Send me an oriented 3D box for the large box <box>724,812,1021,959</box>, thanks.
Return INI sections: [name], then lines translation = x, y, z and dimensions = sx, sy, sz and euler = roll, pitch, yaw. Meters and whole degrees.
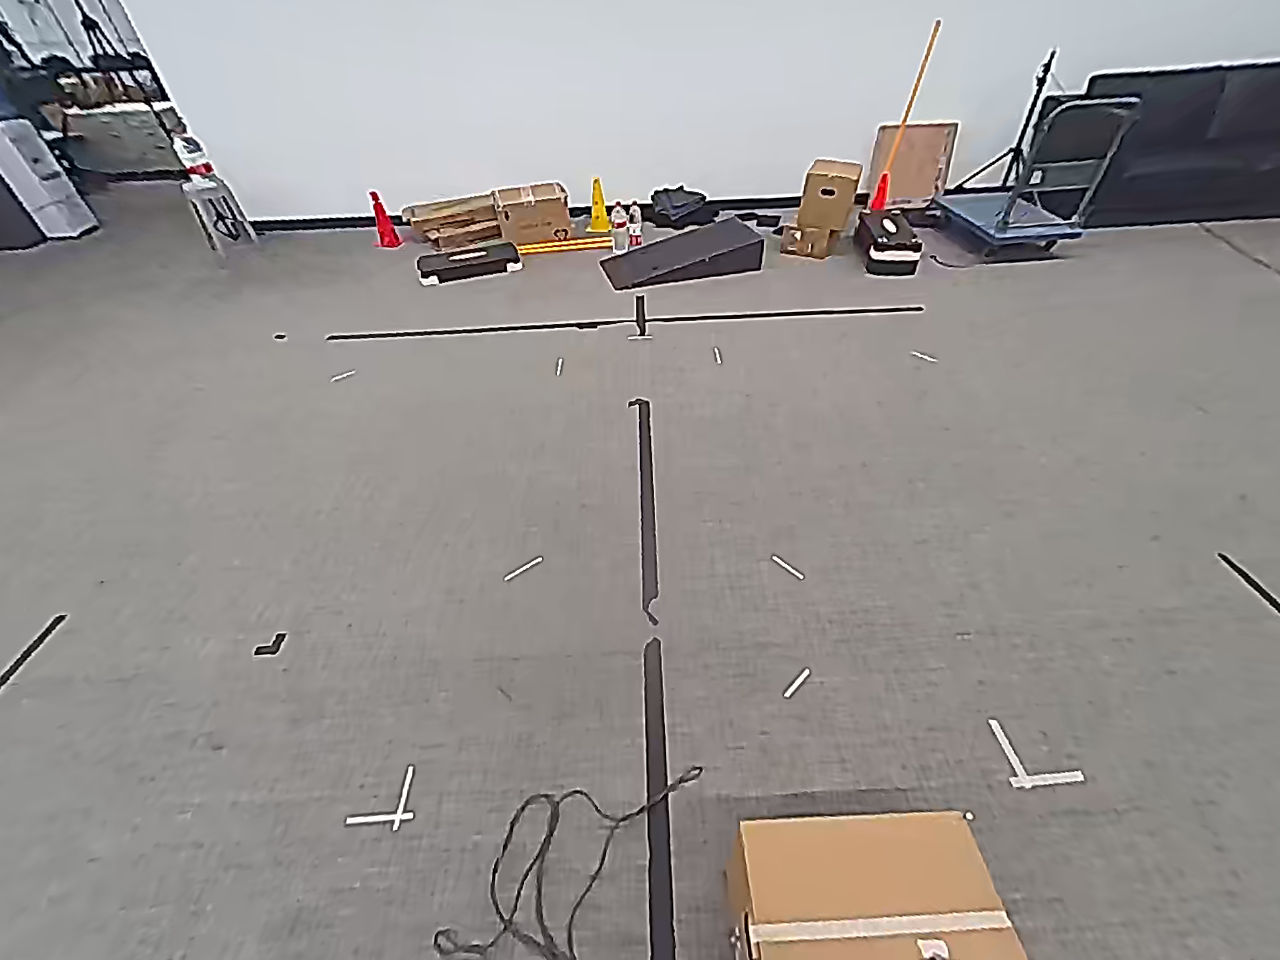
[large box]
translation = 0.383, 0.820, 0.953
dimensions = 0.408, 0.320, 0.320
euler = -2, 42, -1
